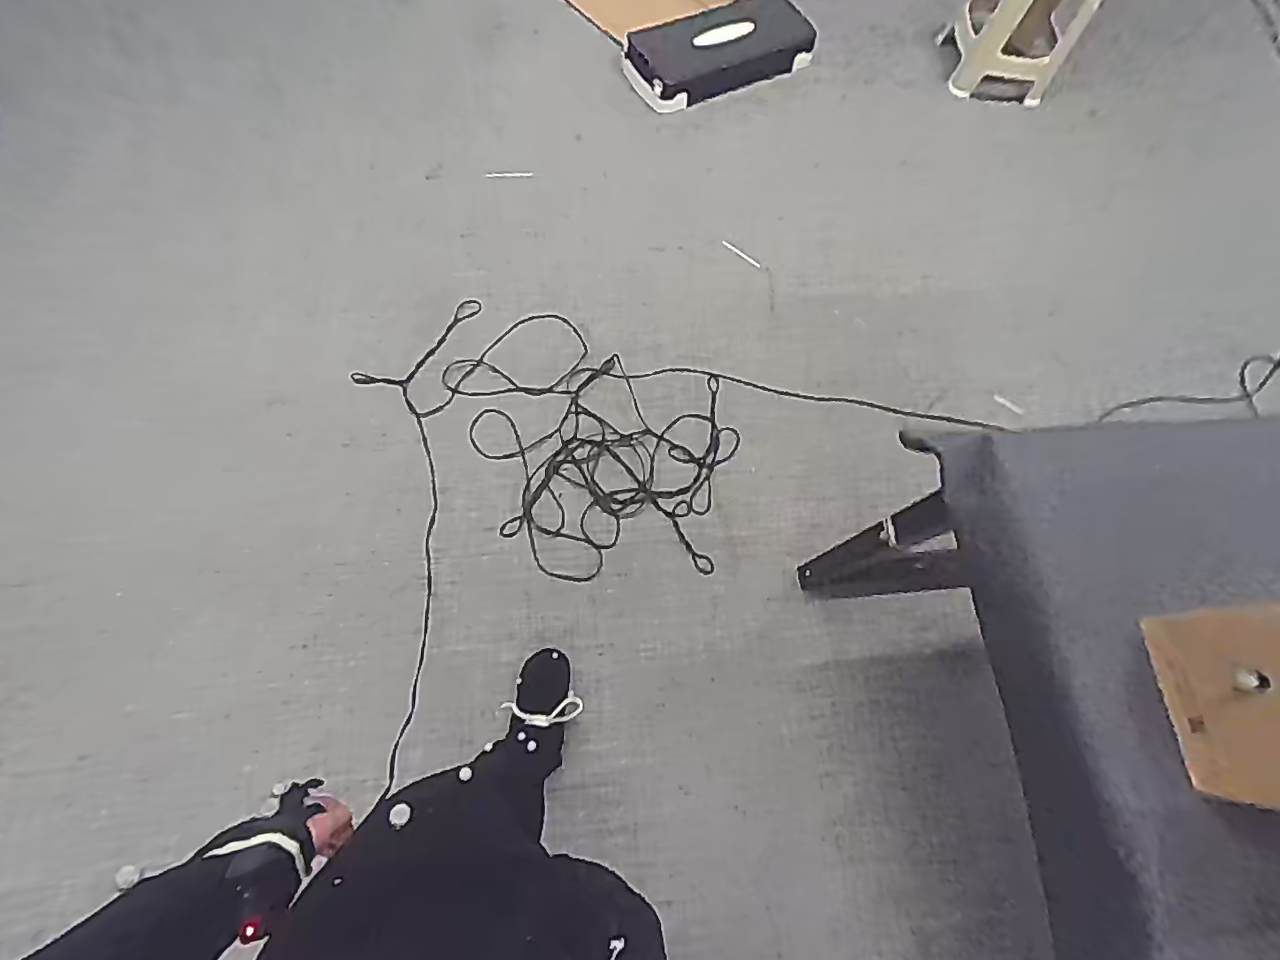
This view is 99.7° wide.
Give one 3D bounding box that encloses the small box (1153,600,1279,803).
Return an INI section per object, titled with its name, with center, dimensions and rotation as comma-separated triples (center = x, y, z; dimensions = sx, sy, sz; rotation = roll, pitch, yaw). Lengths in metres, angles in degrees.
[small box]
center = 0.625, 0.197, 0.487
dimensions = 0.179, 0.176, 0.168
rotation = 0, 69, -7
